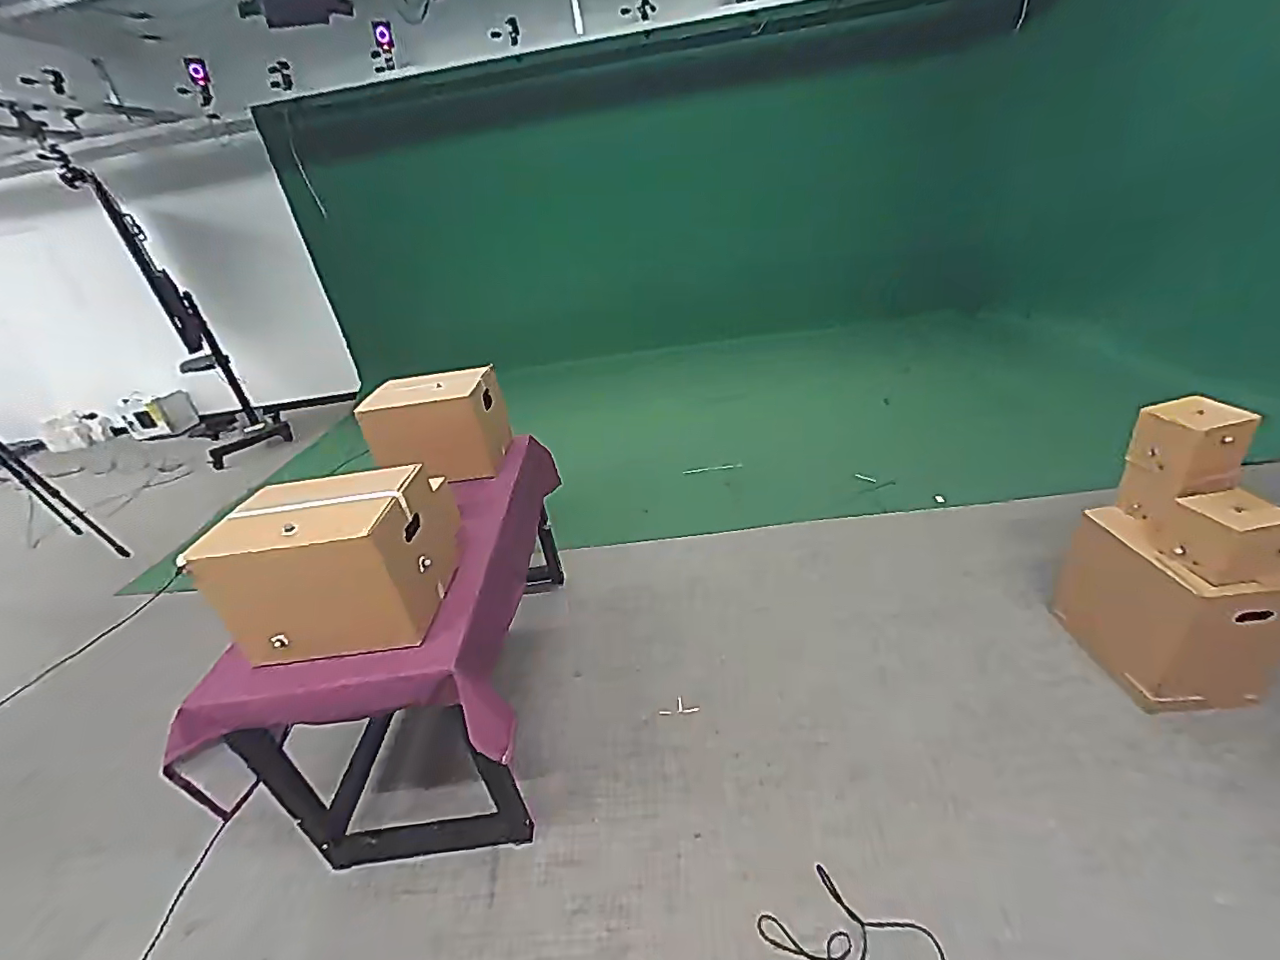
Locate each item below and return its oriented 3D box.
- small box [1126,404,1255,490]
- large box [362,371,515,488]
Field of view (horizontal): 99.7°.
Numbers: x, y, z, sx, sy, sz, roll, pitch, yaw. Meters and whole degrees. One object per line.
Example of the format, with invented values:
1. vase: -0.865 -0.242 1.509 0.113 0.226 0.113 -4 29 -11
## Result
1. small box: 1.534 -0.093 1.523 0.179 0.176 0.168 -13 30 -3
2. large box: -0.716 -0.189 1.986 0.408 0.320 0.320 -6 29 4
